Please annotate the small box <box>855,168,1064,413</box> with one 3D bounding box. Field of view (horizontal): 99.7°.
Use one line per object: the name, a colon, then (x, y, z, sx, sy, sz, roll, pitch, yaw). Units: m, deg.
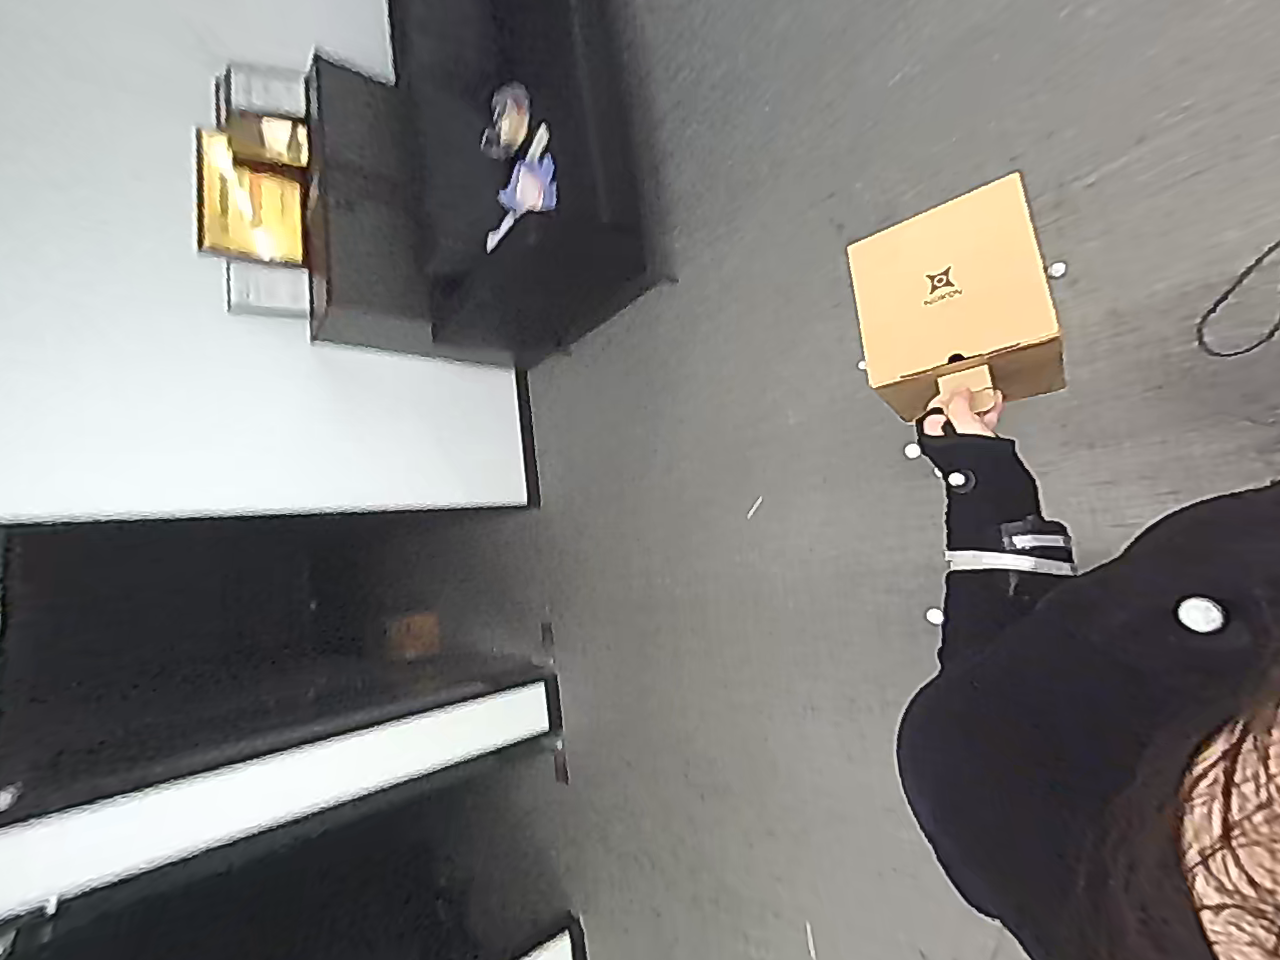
small box: (0.357, -0.193, 0.608, 0.168, 0.176, 0.179, -11, 75, 36)
